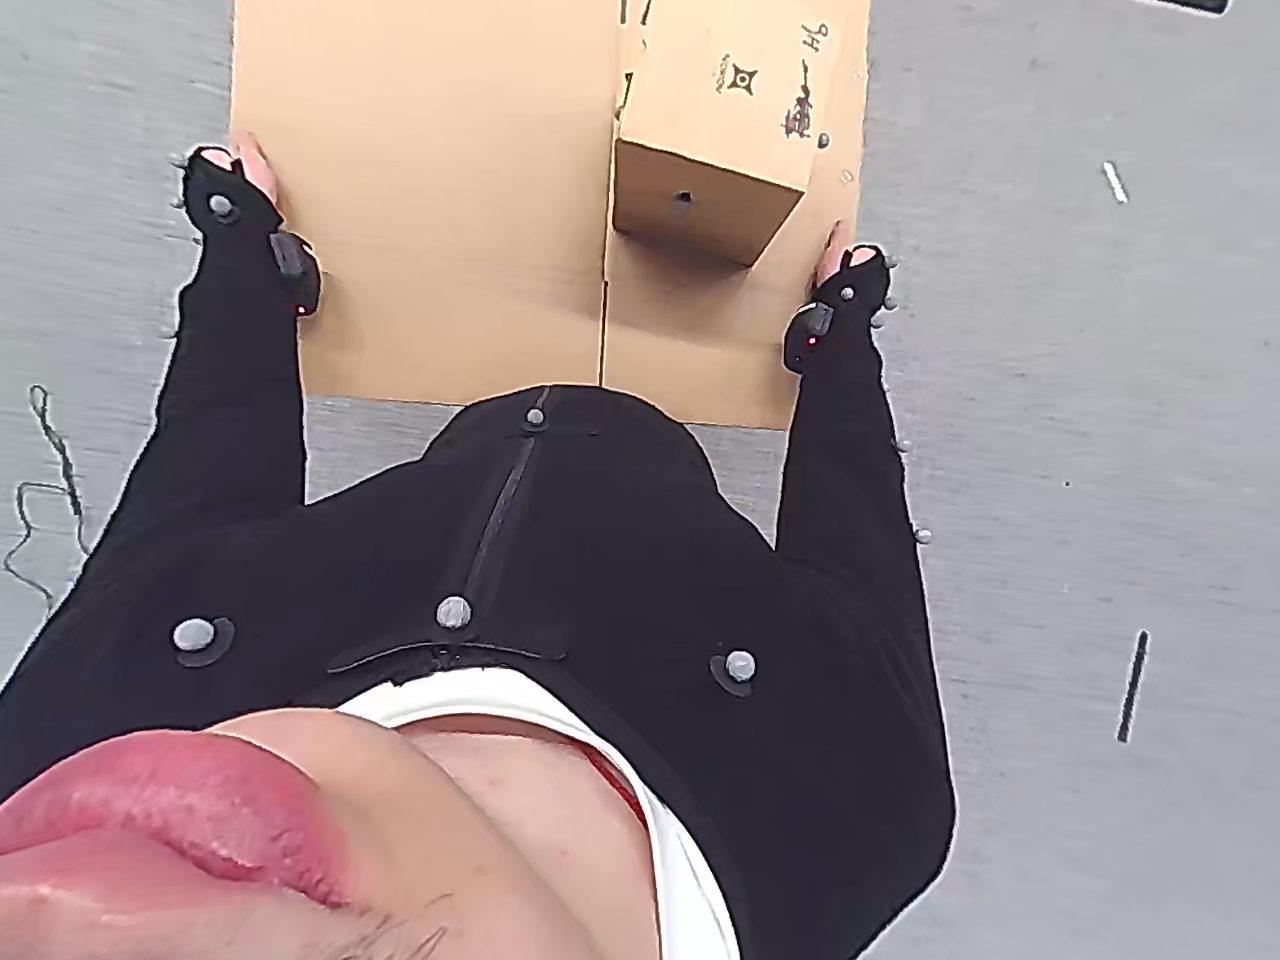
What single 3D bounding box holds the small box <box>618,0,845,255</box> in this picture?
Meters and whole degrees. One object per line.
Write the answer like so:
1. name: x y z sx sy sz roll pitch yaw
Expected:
1. small box: 0.079 -0.359 0.561 0.179 0.176 0.168 14 90 -3
